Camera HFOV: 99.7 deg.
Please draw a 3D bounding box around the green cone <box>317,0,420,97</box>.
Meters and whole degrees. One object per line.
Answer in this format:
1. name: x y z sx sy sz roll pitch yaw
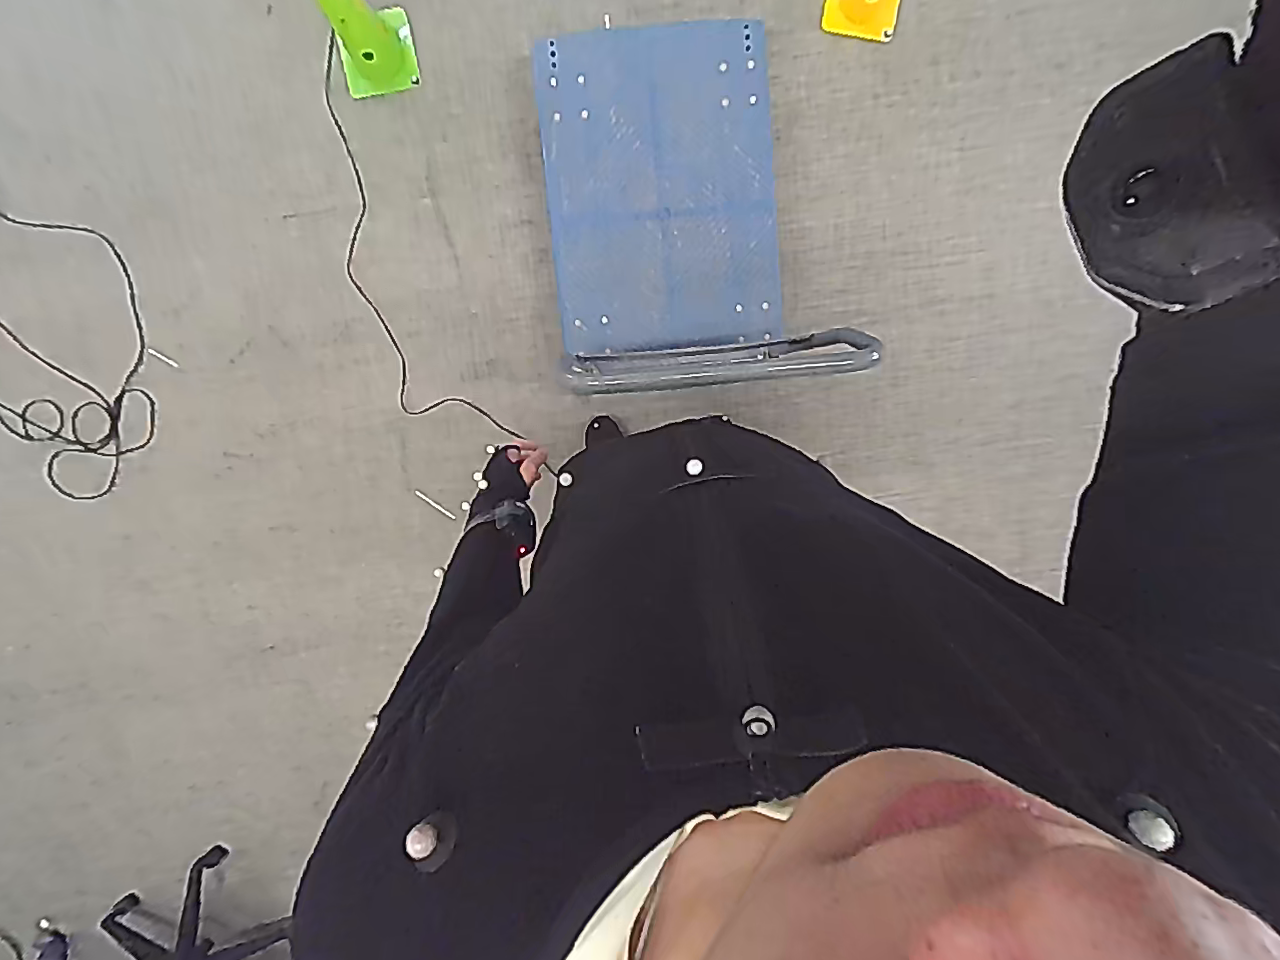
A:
1. green cone: -0.716 -1.143 1.300 0.202 0.368 0.200 -12 97 3
